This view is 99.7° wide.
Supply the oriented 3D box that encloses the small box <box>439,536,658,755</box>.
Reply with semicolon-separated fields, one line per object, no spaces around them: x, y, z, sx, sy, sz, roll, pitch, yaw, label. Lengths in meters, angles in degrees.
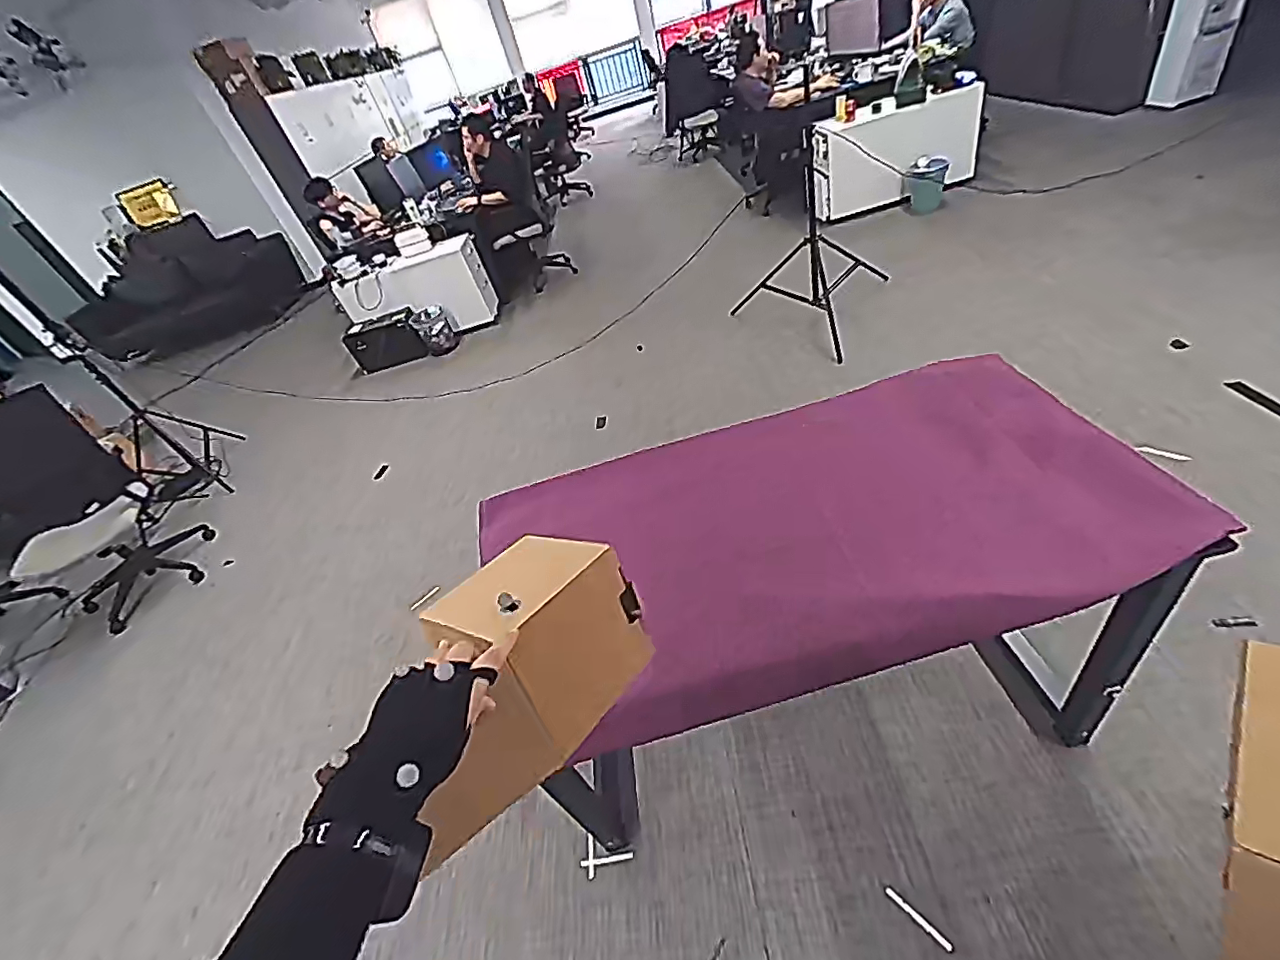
-0.114;0.183;0.652;0.176;0.168;0.179;-2;28;43;small box
